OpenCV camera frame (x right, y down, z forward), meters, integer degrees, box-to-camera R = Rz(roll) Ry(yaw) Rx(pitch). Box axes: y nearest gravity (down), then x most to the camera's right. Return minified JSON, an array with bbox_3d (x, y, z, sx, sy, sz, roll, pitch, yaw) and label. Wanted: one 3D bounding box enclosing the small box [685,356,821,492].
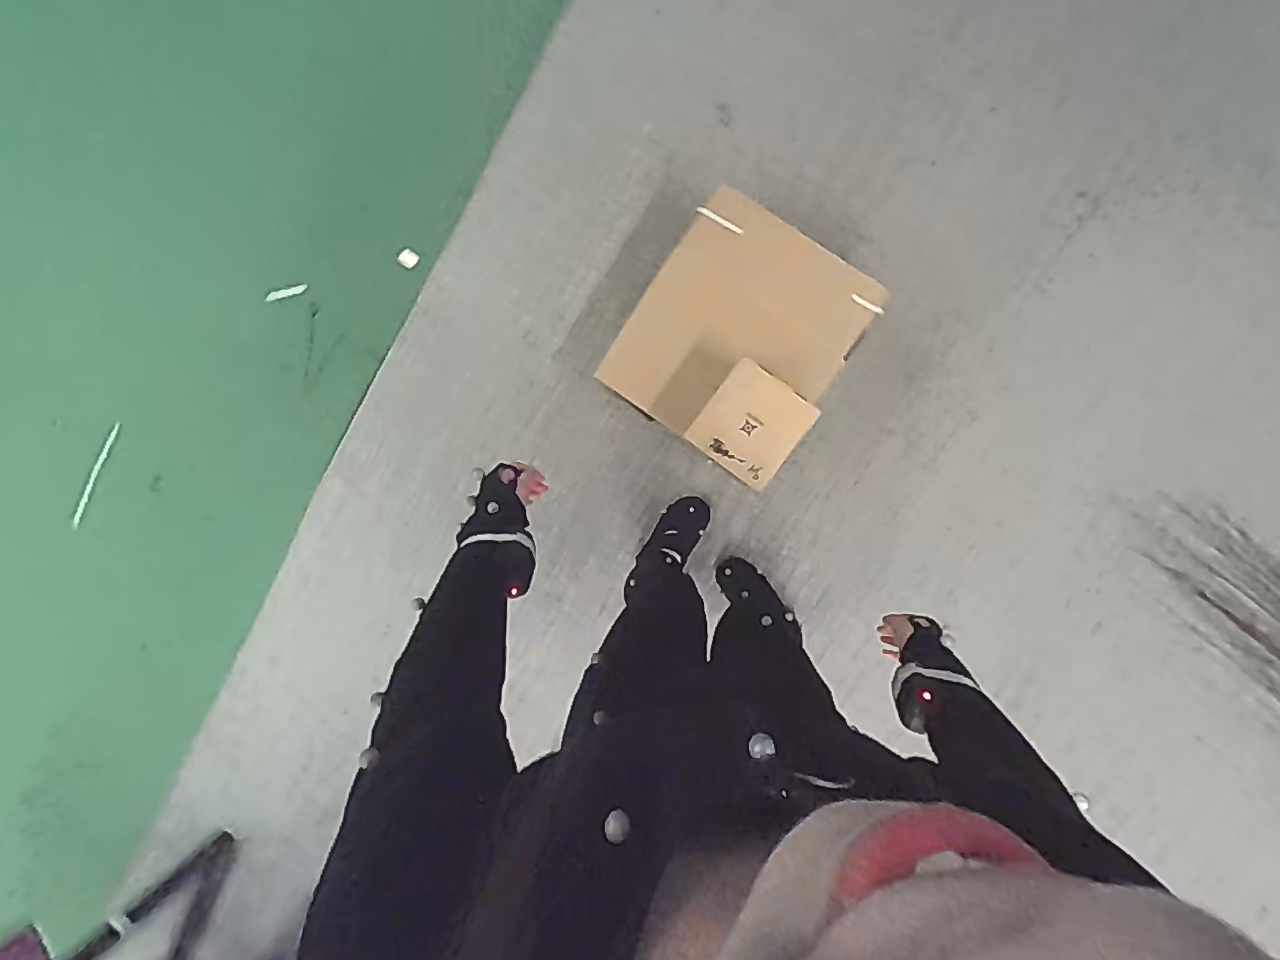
[{"bbox_3d":[0.196,-0.099,0.993,0.168,0.176,0.179,38,96,3],"label":"small box"}]
